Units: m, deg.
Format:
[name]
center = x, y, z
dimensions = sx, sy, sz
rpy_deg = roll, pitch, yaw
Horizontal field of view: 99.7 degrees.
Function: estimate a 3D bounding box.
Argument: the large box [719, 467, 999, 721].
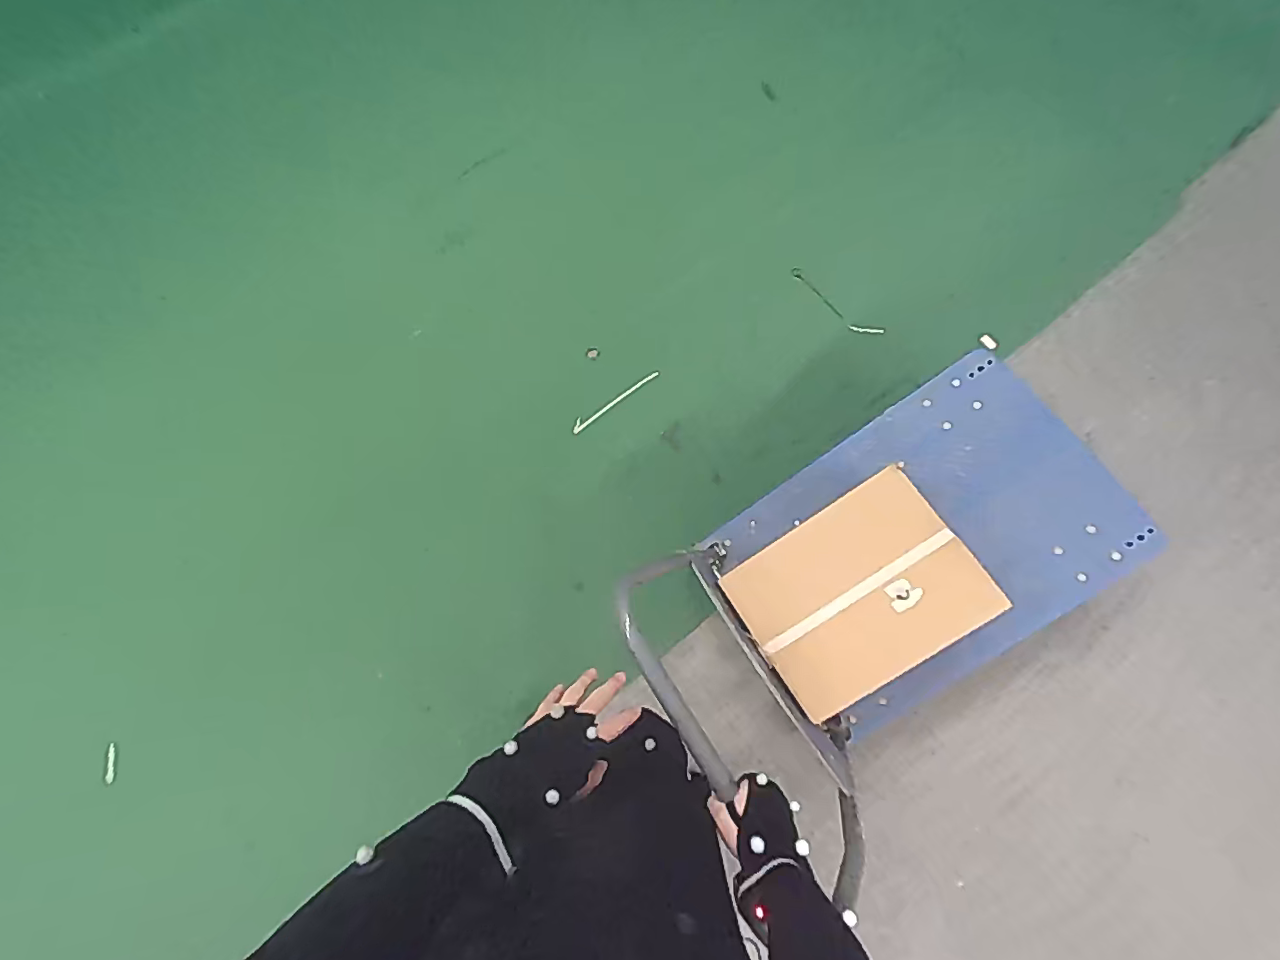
[large box]
center = 0.428, 0.234, 1.148
dimensions = 0.408, 0.320, 0.320
rpy_deg = -35, 75, 6
